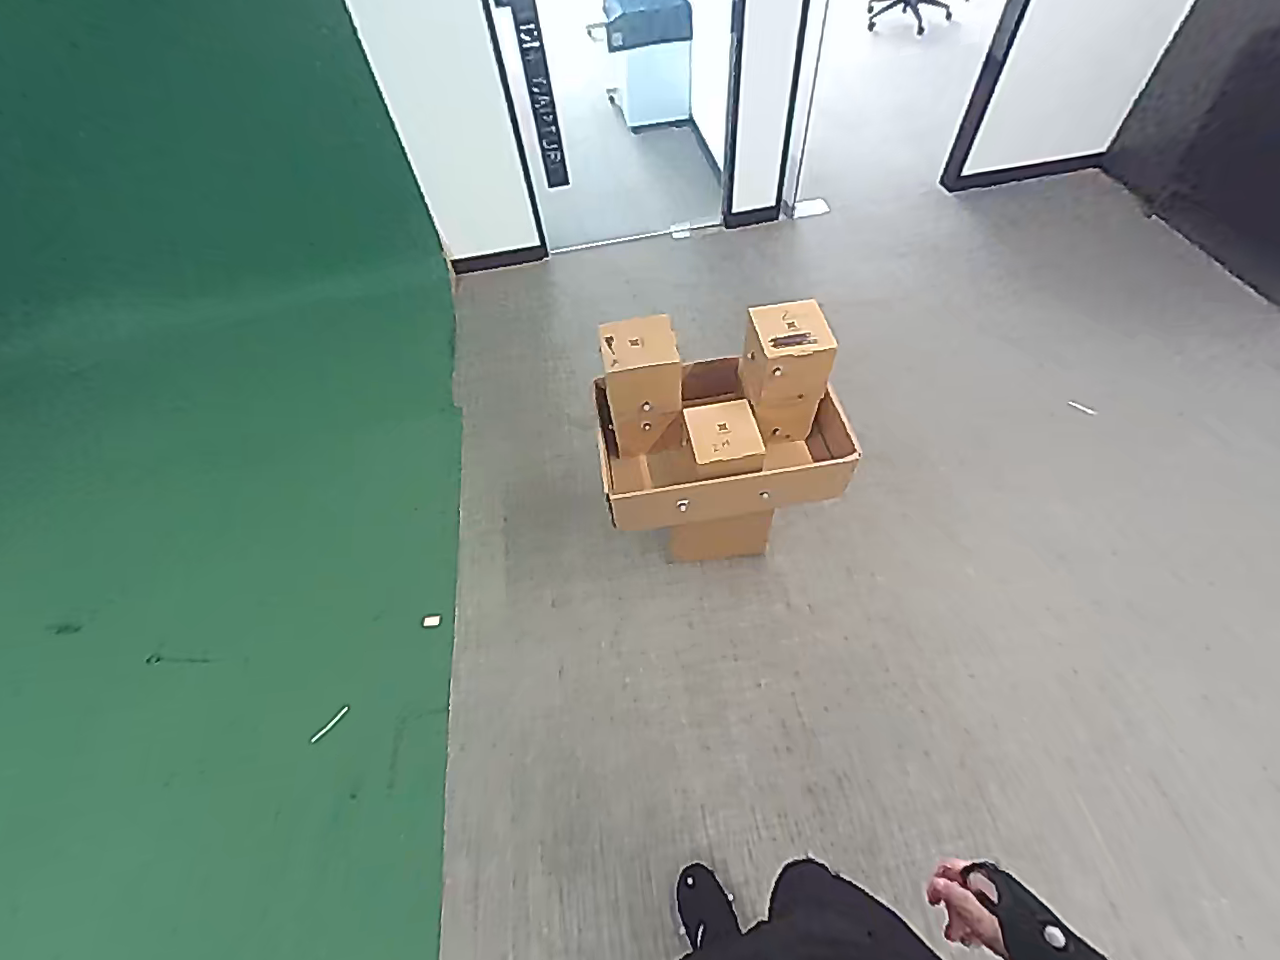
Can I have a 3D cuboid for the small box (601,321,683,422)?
[{"bbox_3d":[0.004,-0.262,1.320,0.179,0.176,0.168,-8,55,-2],"label":"small box"}]
